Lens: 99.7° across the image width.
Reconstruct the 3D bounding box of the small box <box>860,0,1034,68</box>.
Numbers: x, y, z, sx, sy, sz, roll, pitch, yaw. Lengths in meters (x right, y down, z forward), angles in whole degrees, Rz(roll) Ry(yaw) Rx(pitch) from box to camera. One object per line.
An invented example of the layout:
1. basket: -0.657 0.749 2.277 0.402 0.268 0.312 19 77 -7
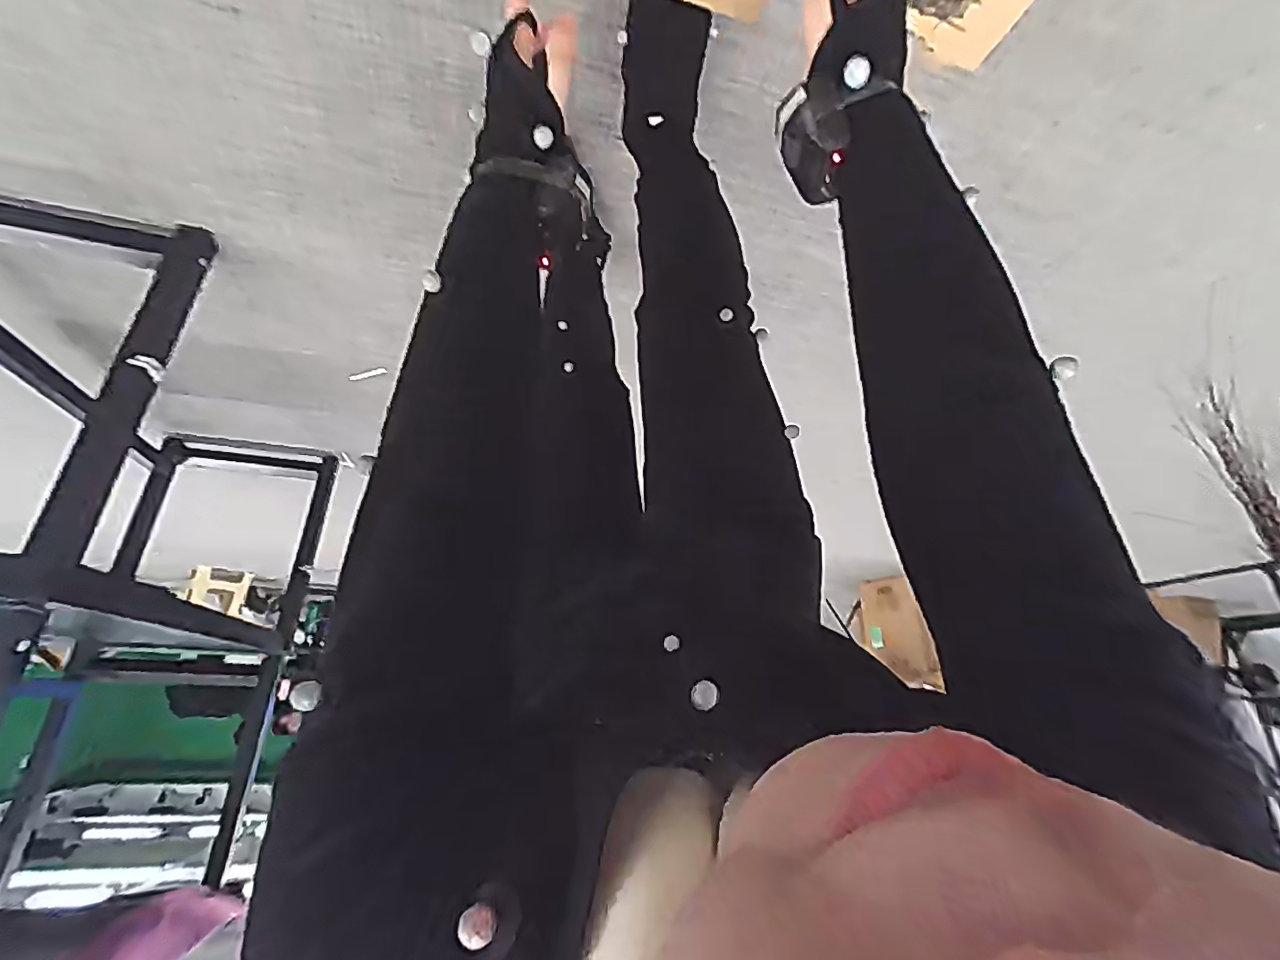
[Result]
1. small box: 0.344 -0.596 0.562 0.168 0.176 0.179 9 155 -19
